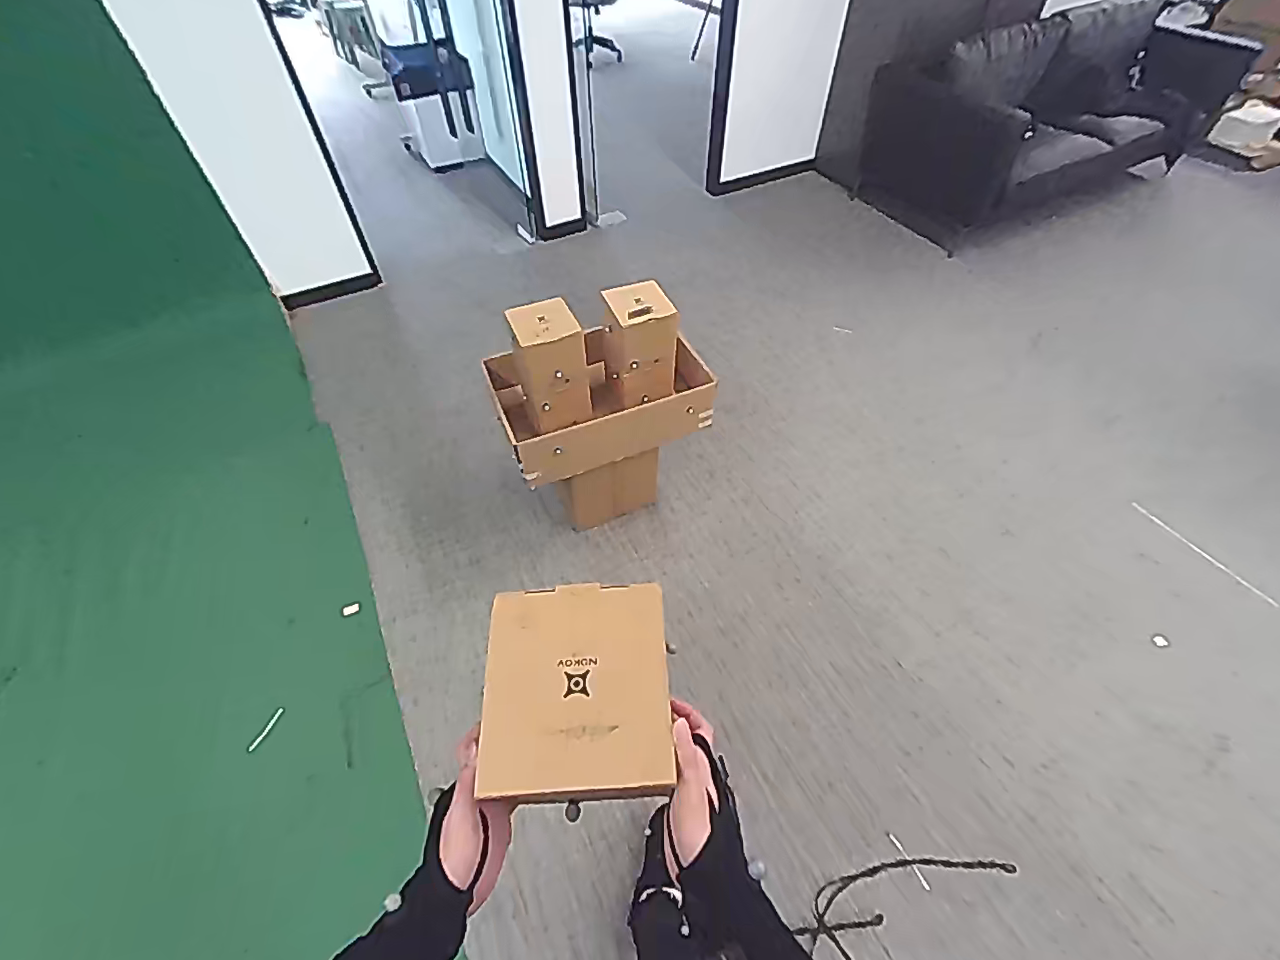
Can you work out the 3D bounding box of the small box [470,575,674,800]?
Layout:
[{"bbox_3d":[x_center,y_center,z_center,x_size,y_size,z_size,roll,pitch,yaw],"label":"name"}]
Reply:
[{"bbox_3d":[-0.057,0.211,0.541,0.168,0.176,0.179,-3,57,0],"label":"small box"}]

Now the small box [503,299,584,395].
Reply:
[{"bbox_3d":[-0.262,-0.363,1.483,0.168,0.176,0.179,-20,54,-14],"label":"small box"}]

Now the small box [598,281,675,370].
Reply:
[{"bbox_3d":[-0.010,-0.433,1.540,0.168,0.176,0.179,-17,53,-14],"label":"small box"}]

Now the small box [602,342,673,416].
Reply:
[{"bbox_3d":[-0.011,-0.329,1.668,0.168,0.176,0.179,-18,54,-14],"label":"small box"}]
